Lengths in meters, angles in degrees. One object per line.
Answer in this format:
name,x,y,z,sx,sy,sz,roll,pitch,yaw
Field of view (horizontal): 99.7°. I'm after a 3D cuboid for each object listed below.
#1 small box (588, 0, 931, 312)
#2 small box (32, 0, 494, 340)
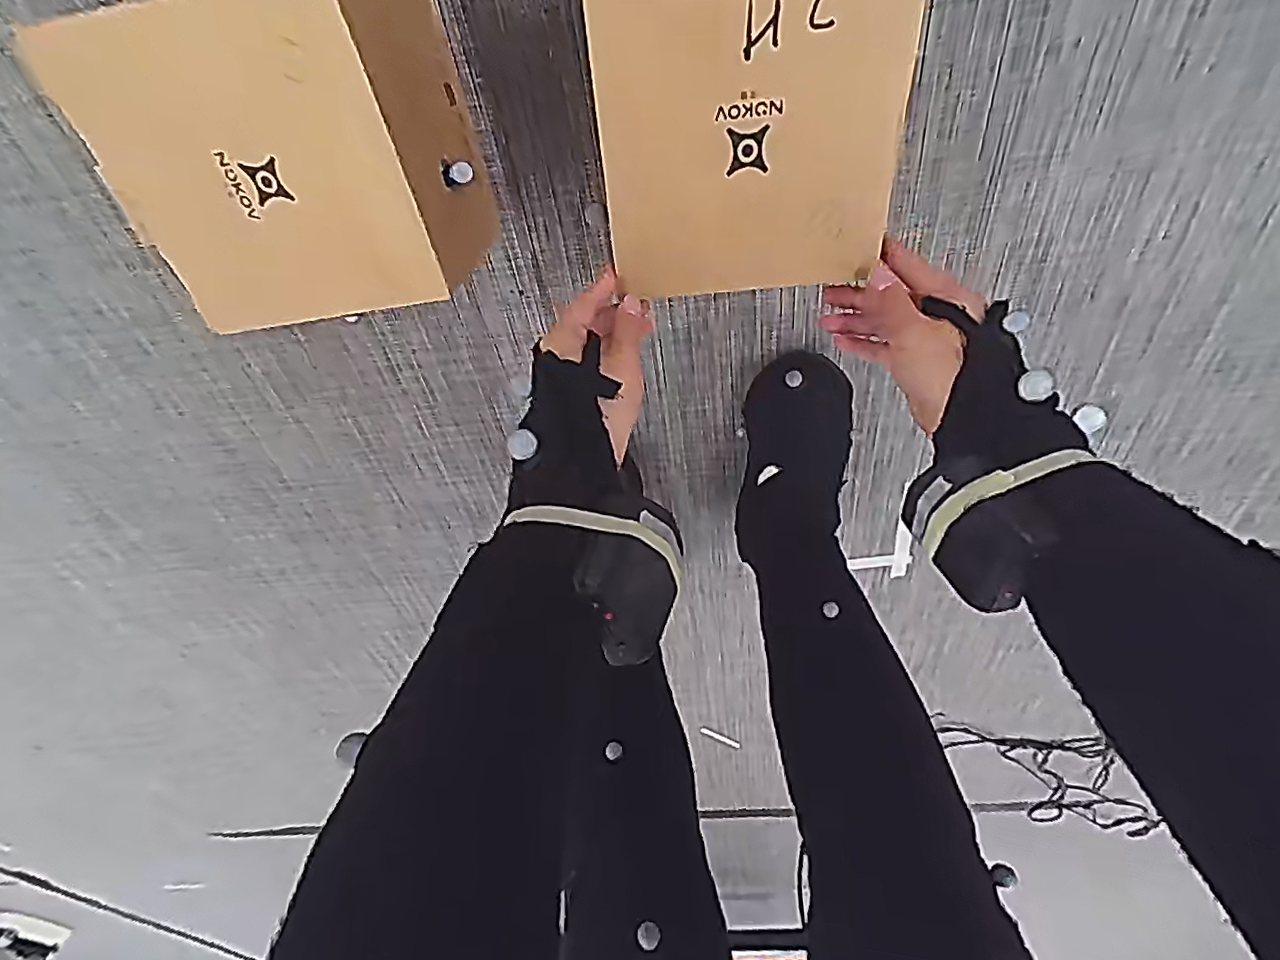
small box,0.062,-0.232,0.360,0.168,0.176,0.179,-4,129,3
small box,-0.214,-0.220,0.378,0.179,0.176,0.168,-7,129,6
